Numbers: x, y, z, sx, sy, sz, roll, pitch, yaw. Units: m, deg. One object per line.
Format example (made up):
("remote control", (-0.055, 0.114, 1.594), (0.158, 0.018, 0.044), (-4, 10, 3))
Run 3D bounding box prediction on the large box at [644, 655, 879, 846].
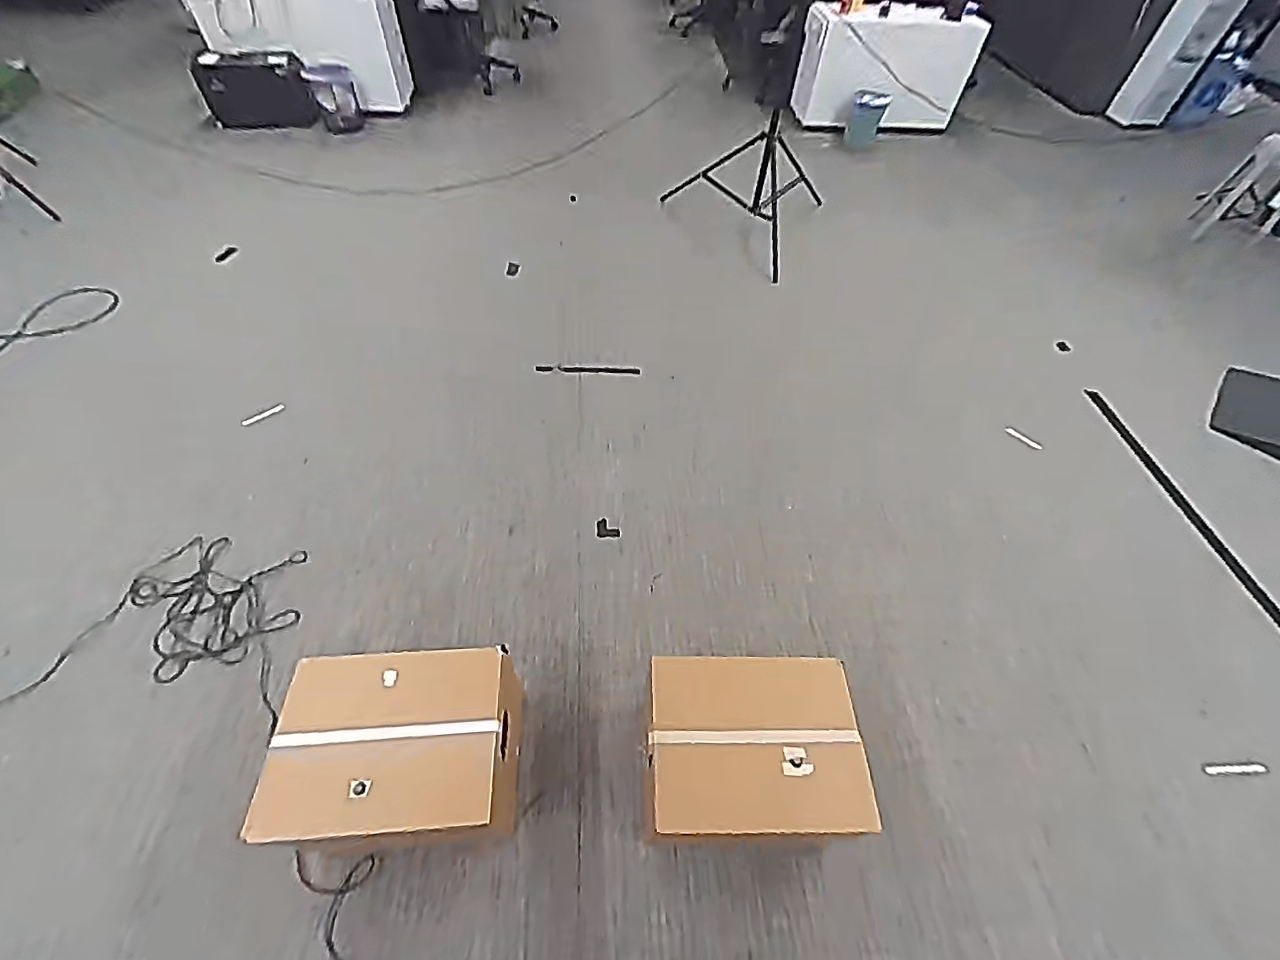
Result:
("large box", (0.220, 0.586, 1.164), (0.408, 0.320, 0.320), (2, 52, -3))
